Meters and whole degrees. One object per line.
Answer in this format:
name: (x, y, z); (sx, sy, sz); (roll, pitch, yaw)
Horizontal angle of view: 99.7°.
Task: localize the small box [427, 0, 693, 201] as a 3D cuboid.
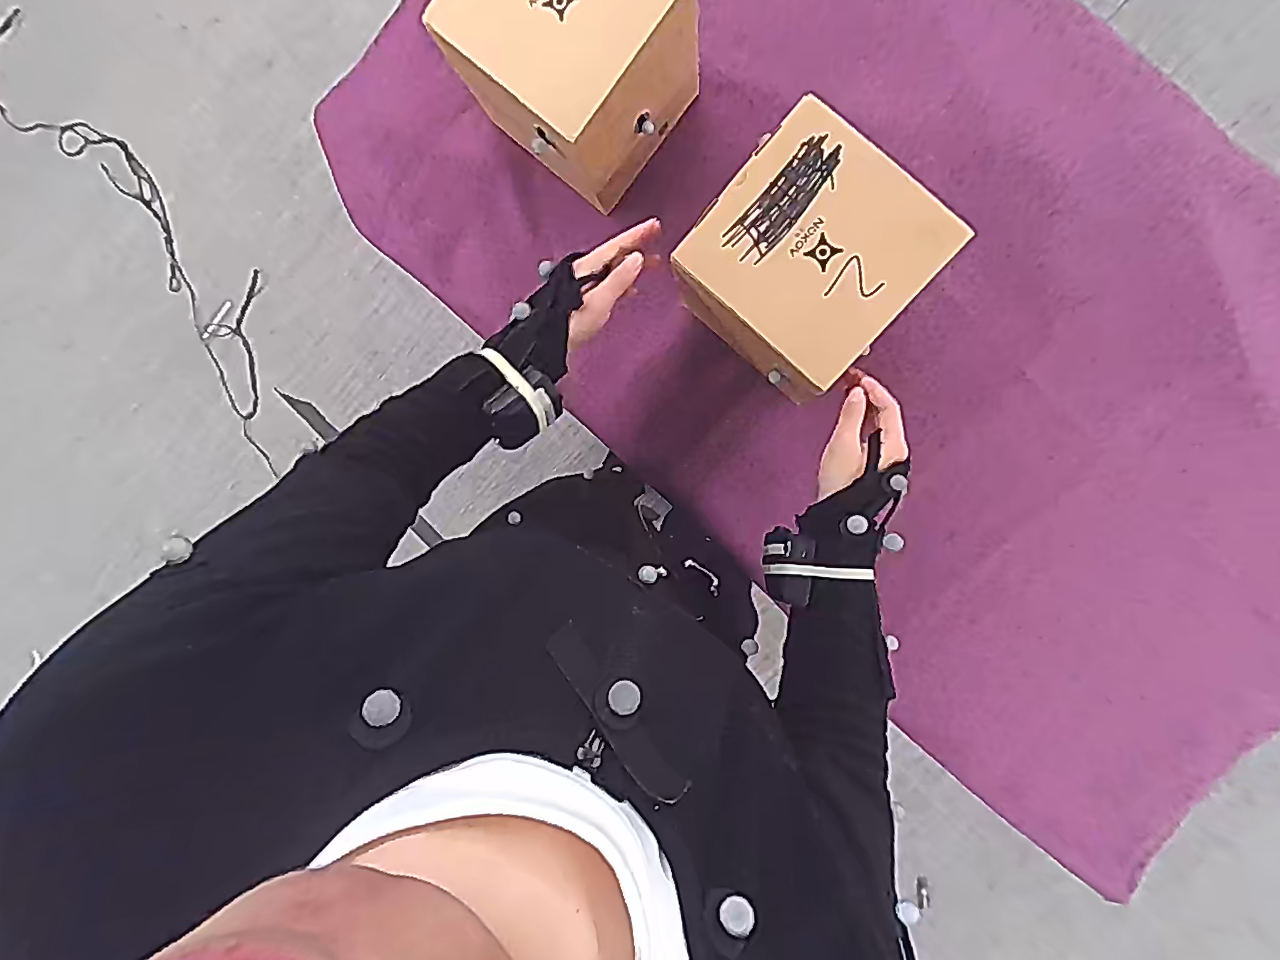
small box: (-0.060, -0.411, 0.533); (0.179, 0.176, 0.168); (41, 99, 2)
